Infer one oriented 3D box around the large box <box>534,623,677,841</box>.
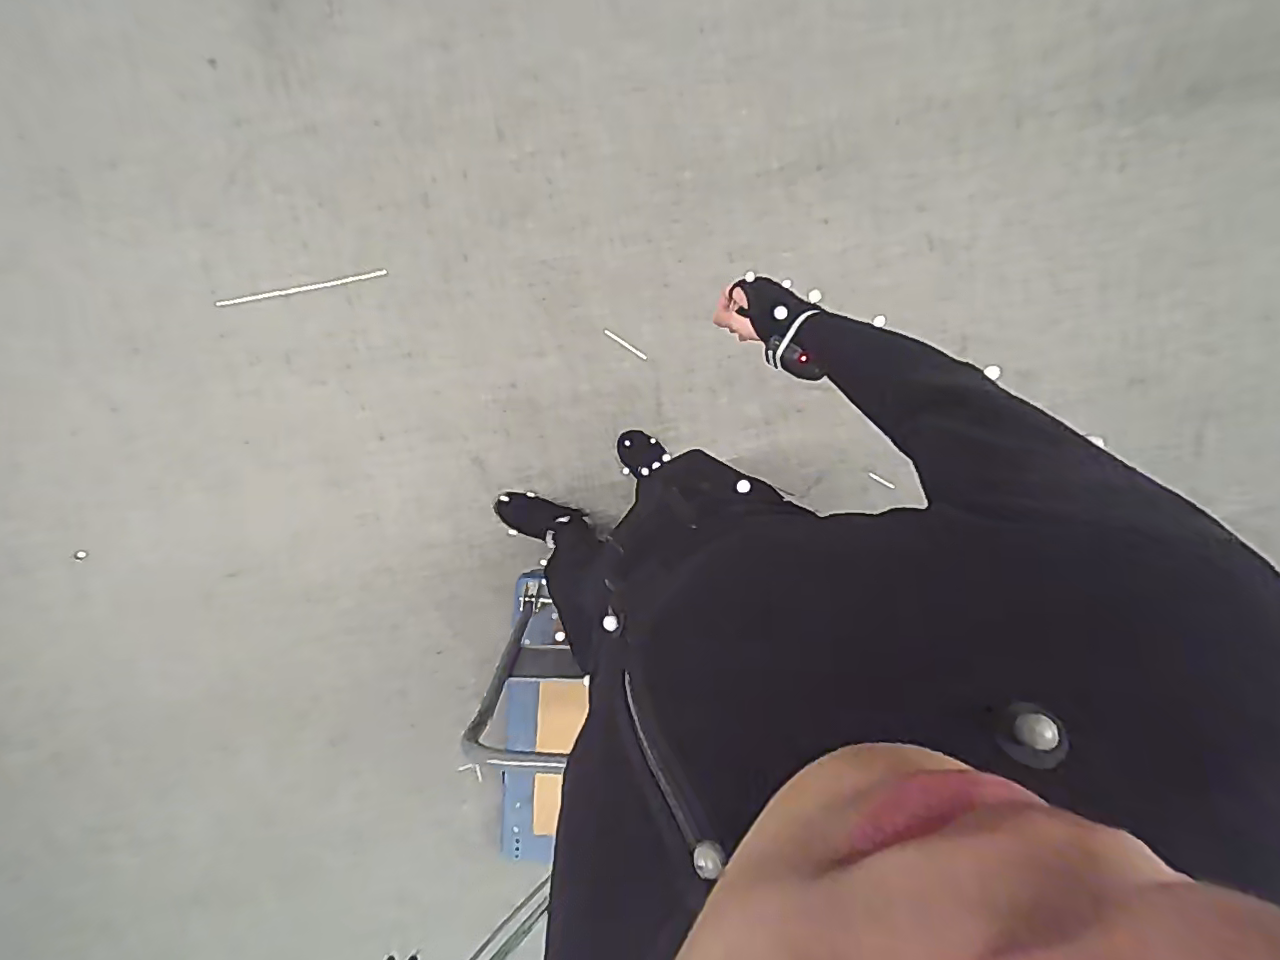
[{"bbox_3d":[-0.089,0.610,1.365,0.320,0.320,0.408,3,98,-3],"label":"large box"}]
